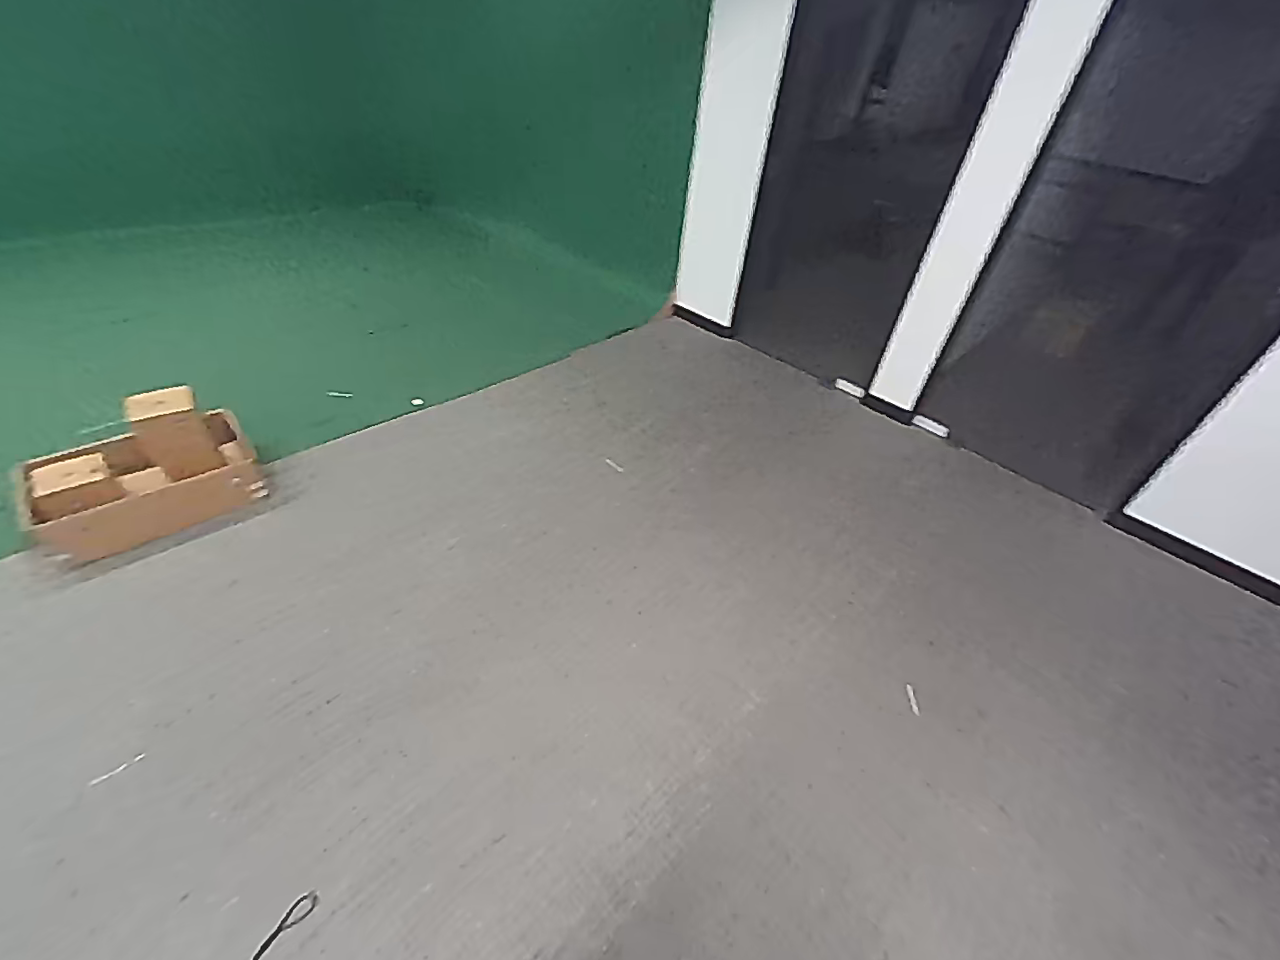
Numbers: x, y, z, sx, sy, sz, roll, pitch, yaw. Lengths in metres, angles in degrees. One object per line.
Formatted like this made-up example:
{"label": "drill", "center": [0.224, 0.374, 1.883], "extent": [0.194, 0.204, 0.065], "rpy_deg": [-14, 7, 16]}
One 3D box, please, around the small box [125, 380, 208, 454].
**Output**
{"label": "small box", "center": [-1.631, -0.218, 1.869], "extent": [0.179, 0.176, 0.168], "rpy_deg": [-21, 49, -29]}

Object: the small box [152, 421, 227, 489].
{"label": "small box", "center": [-1.651, -0.097, 1.980], "extent": [0.168, 0.176, 0.179], "rpy_deg": [-22, 50, -29]}
